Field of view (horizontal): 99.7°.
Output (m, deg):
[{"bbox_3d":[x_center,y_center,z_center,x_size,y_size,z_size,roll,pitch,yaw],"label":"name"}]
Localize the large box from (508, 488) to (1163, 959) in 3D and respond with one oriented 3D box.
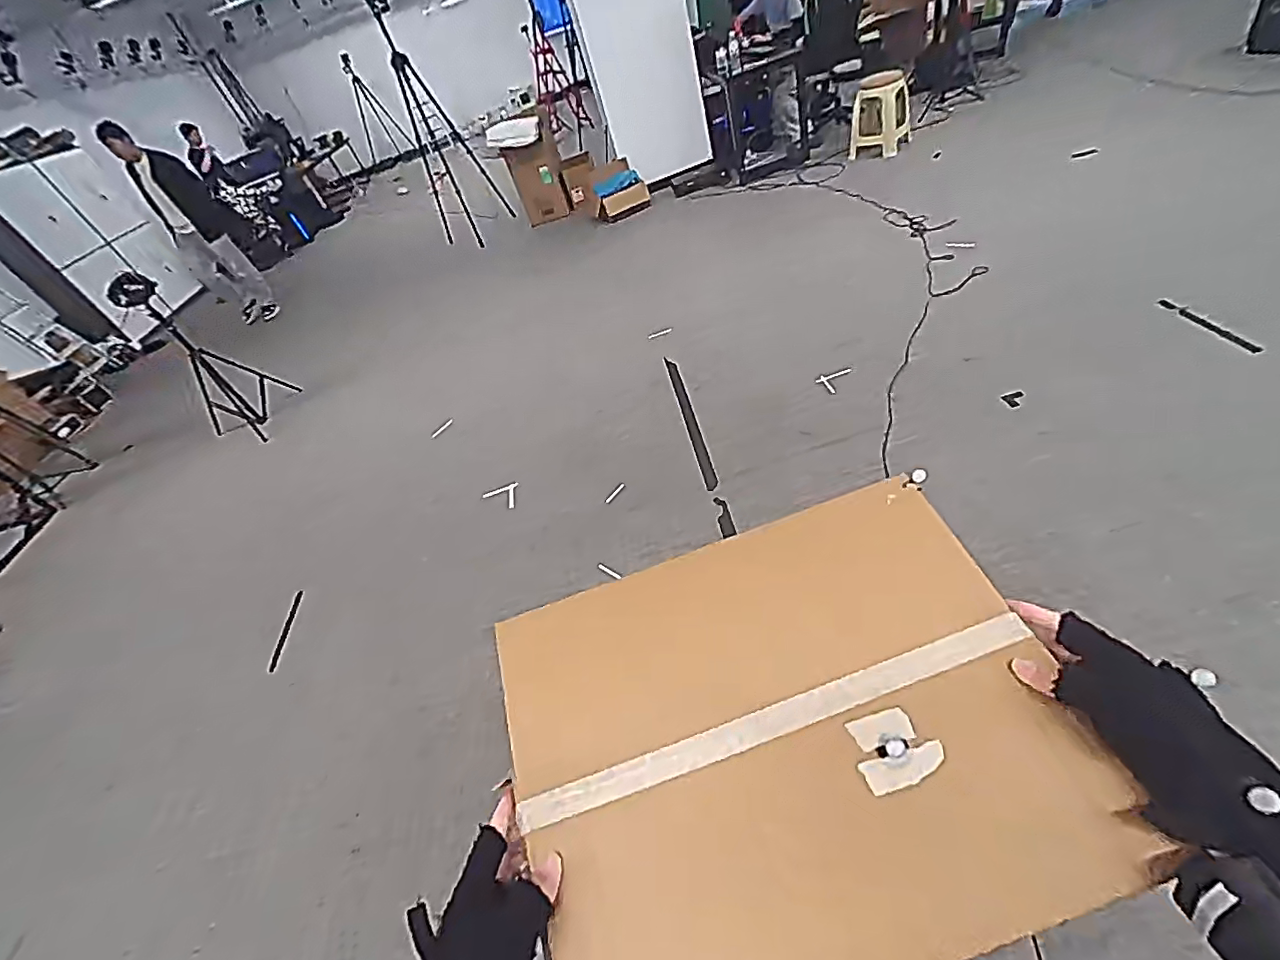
[{"bbox_3d":[0.131,0.274,0.542,0.408,0.320,0.320,-20,54,-2],"label":"large box"}]
